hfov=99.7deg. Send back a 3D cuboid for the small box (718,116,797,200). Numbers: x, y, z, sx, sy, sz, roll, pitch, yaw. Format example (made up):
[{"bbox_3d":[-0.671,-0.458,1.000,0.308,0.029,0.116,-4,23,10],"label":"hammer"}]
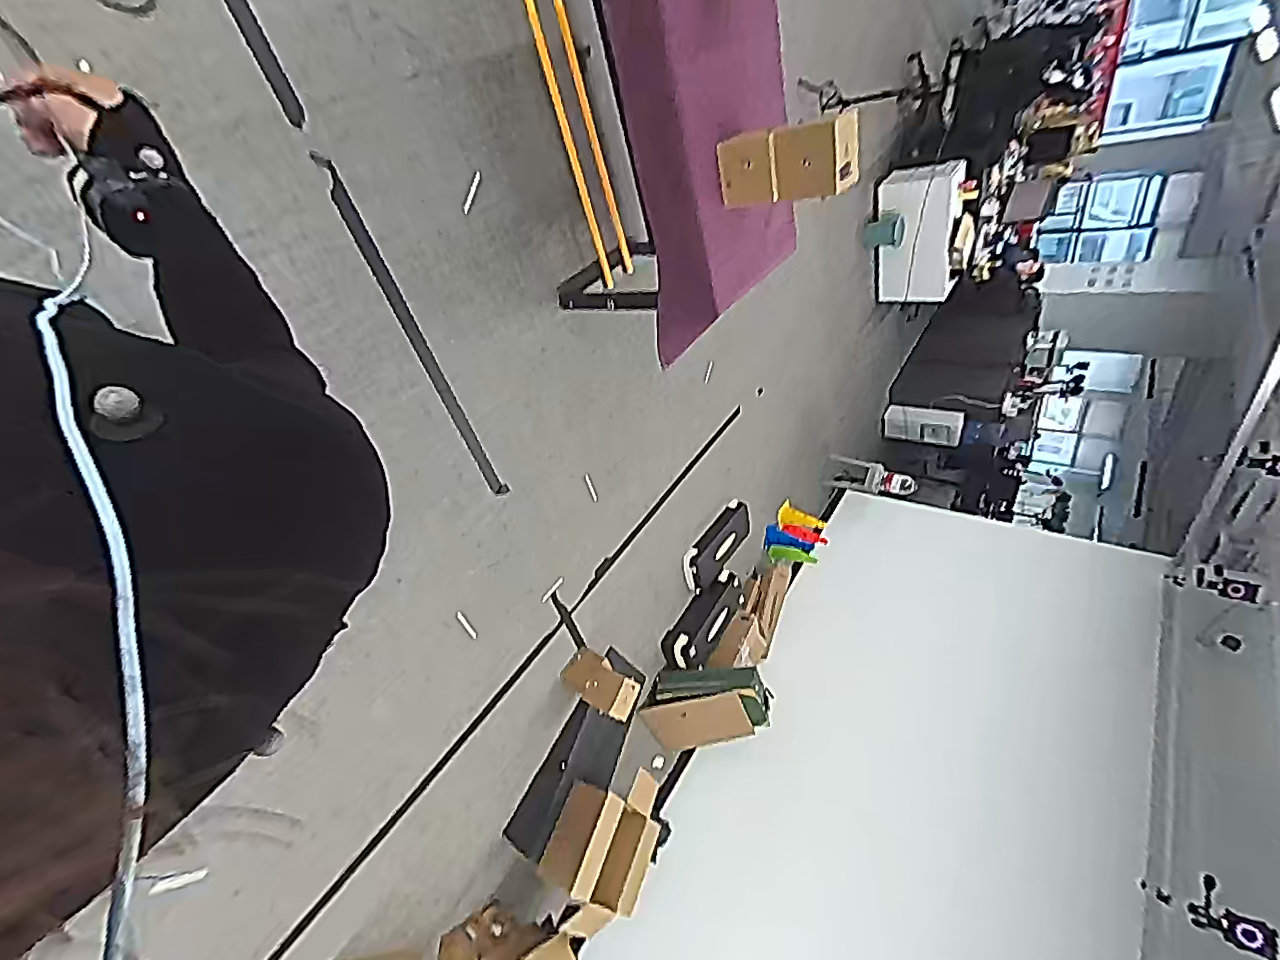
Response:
[{"bbox_3d":[0.336,-0.928,1.564,0.179,0.176,0.168,-46,134,-35],"label":"small box"}]
